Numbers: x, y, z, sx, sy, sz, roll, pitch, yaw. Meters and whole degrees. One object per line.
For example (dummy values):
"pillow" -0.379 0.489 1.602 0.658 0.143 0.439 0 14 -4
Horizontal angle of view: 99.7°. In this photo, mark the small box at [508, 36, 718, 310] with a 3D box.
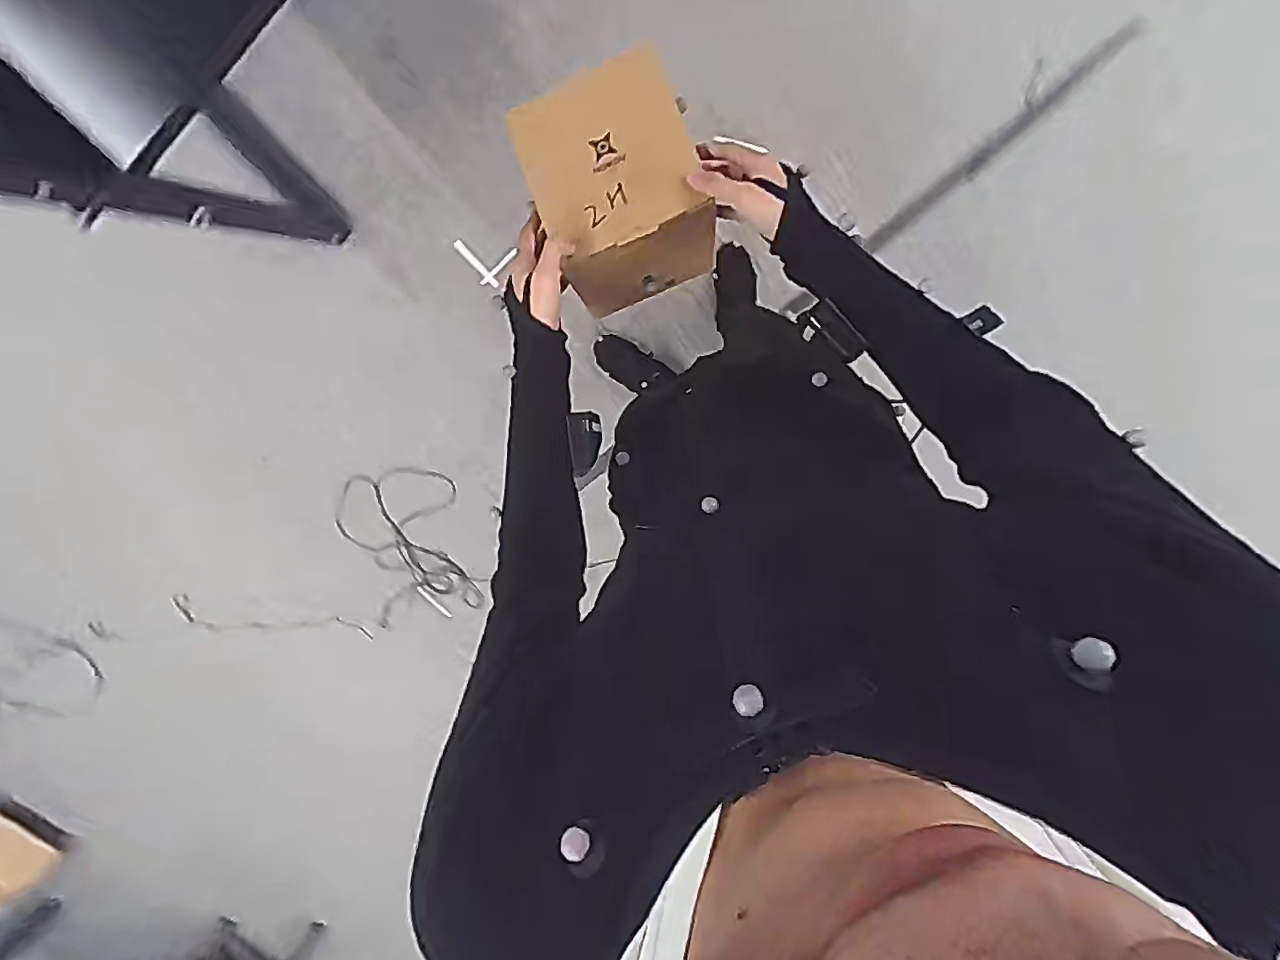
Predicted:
"small box" -0.020 -0.321 0.604 0.168 0.176 0.179 -20 86 7
